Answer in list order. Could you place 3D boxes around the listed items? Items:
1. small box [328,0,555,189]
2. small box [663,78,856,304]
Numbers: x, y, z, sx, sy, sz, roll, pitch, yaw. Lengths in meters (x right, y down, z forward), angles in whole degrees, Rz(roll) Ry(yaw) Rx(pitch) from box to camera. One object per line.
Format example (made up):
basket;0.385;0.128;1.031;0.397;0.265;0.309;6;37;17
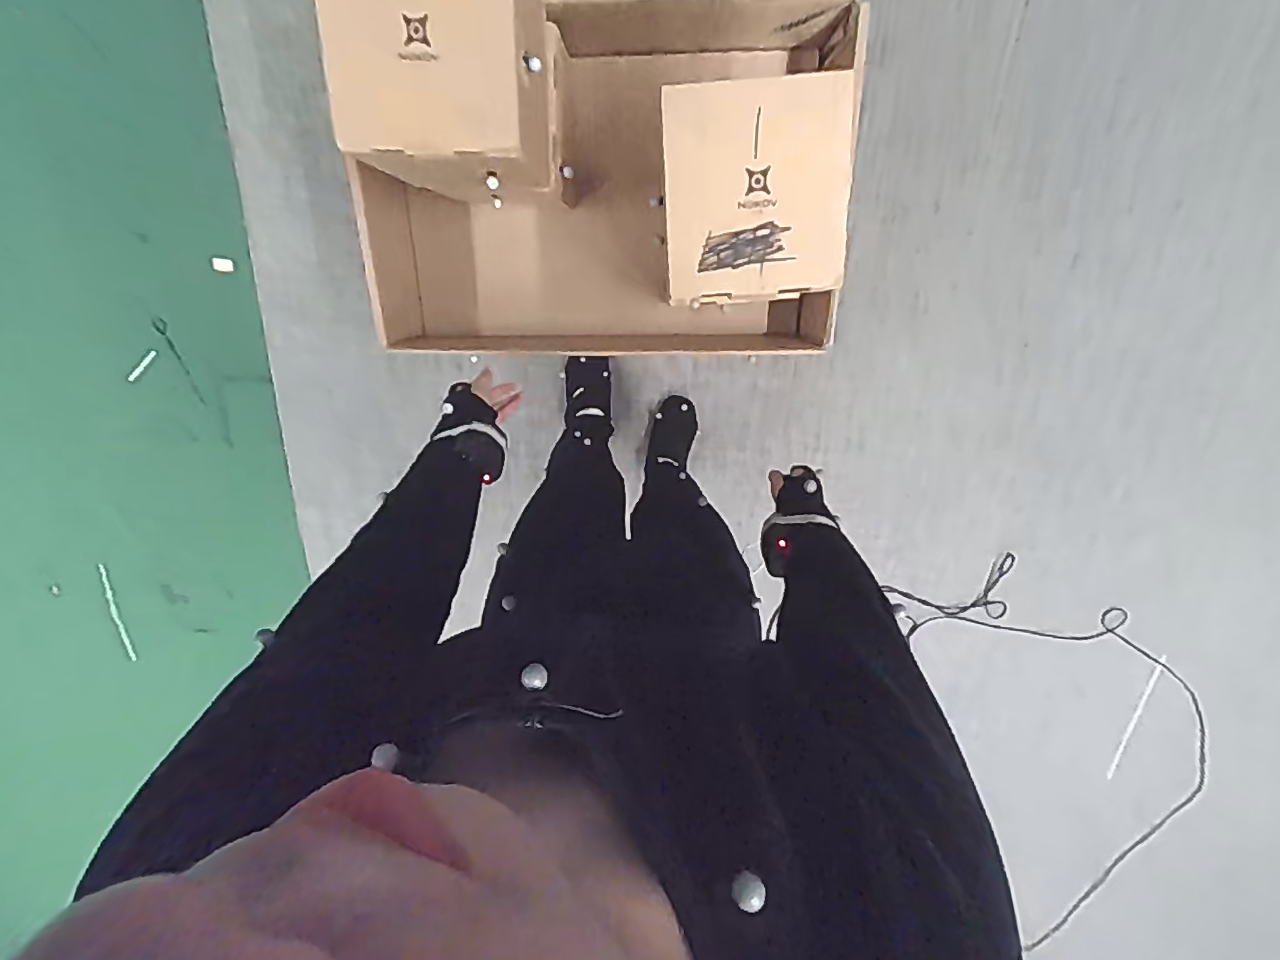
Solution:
small box;-0.178;-0.399;0.535;0.168;0.176;0.179;3;109;0
small box;0.110;-0.284;0.565;0.168;0.176;0.179;-3;109;3
